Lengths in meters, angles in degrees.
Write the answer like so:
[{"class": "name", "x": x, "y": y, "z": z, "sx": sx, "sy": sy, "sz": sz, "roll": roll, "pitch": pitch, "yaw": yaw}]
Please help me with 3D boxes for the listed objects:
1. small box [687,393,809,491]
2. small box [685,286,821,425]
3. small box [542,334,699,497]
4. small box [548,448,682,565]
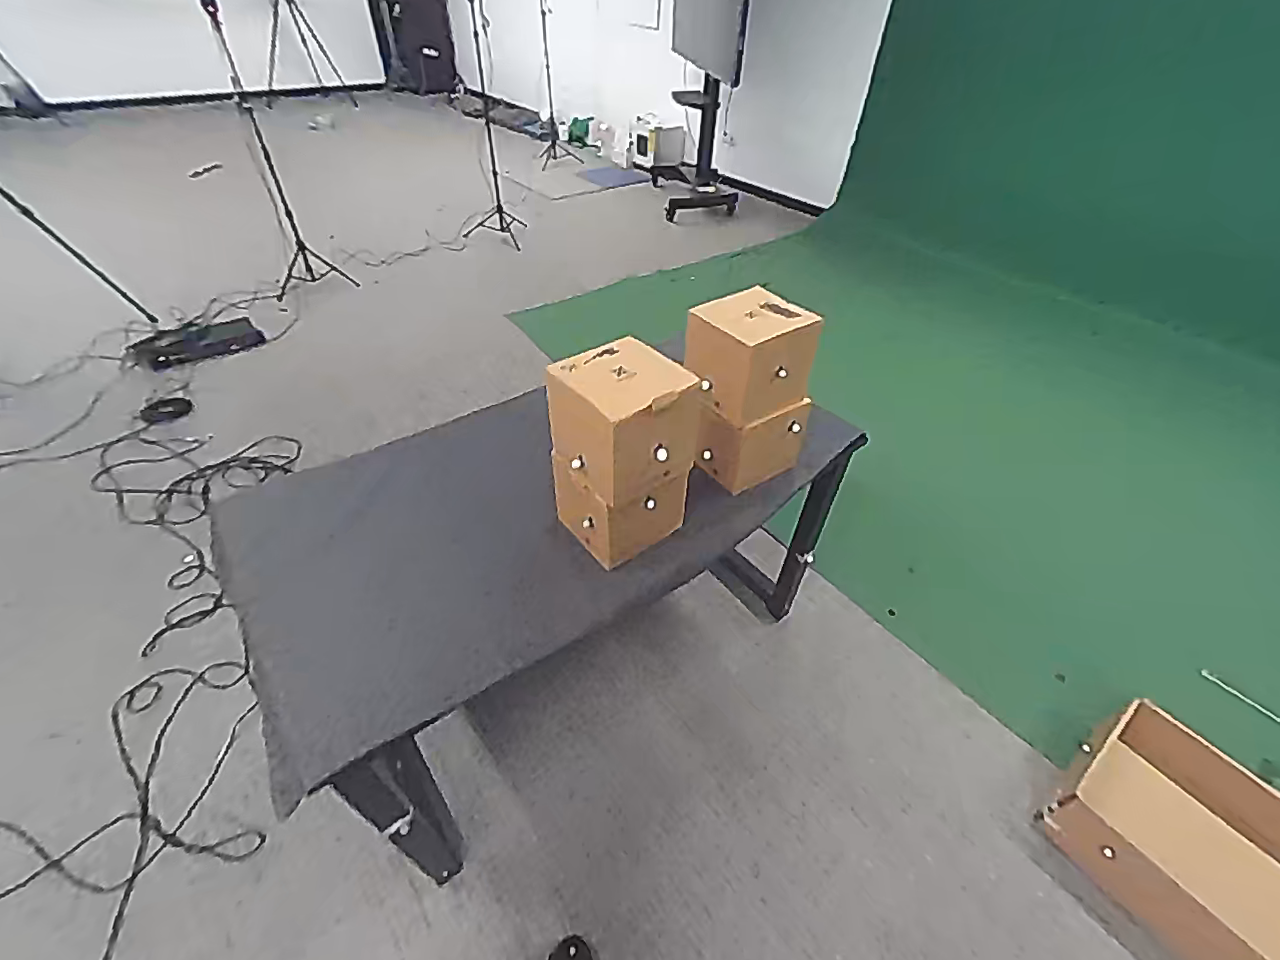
[{"class": "small box", "x": 0.209, "y": -0.108, "z": 1.104, "sx": 0.179, "sy": 0.176, "sz": 0.168, "roll": -24, "pitch": 48, "yaw": -25}, {"class": "small box", "x": 0.195, "y": -0.230, "z": 0.994, "sx": 0.179, "sy": 0.176, "sz": 0.168, "roll": -26, "pitch": 49, "yaw": -25}, {"class": "small box", "x": -0.032, "y": -0.095, "z": 0.841, "sx": 0.168, "sy": 0.176, "sz": 0.179, "roll": -28, "pitch": 52, "yaw": -28}, {"class": "small box", "x": -0.042, "y": 0.018, "z": 0.960, "sx": 0.179, "sy": 0.176, "sz": 0.168, "roll": -27, "pitch": 51, "yaw": -30}]
